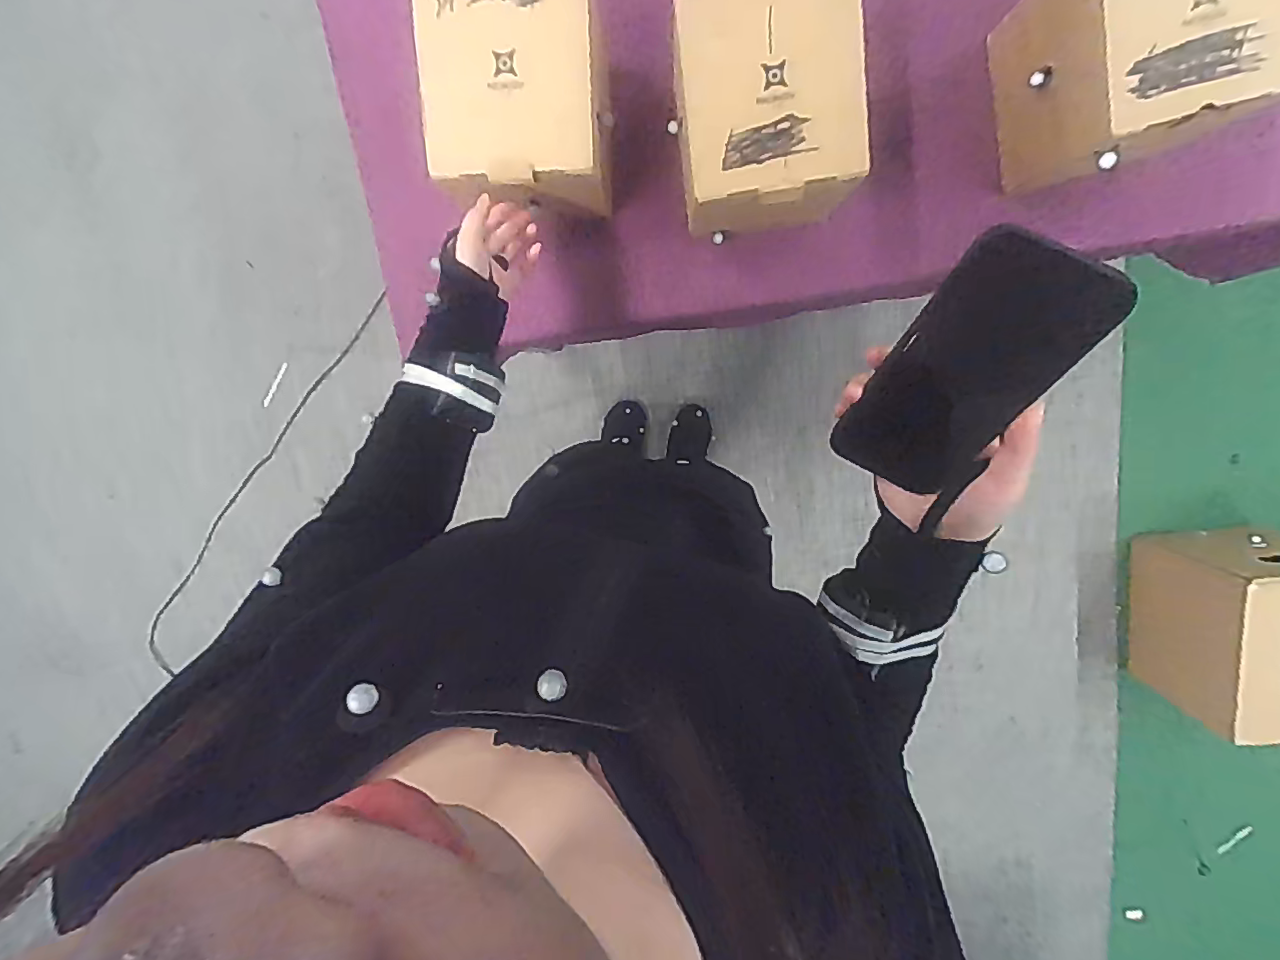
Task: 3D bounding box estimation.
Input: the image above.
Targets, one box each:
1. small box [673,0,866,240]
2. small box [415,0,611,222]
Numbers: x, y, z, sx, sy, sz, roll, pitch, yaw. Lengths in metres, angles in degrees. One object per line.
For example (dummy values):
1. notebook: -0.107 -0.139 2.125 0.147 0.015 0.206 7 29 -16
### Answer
1. small box: 0.128 -0.370 0.578 0.168 0.176 0.179 -7 100 5
2. small box: -0.122 -0.391 0.589 0.168 0.176 0.179 0 102 3
